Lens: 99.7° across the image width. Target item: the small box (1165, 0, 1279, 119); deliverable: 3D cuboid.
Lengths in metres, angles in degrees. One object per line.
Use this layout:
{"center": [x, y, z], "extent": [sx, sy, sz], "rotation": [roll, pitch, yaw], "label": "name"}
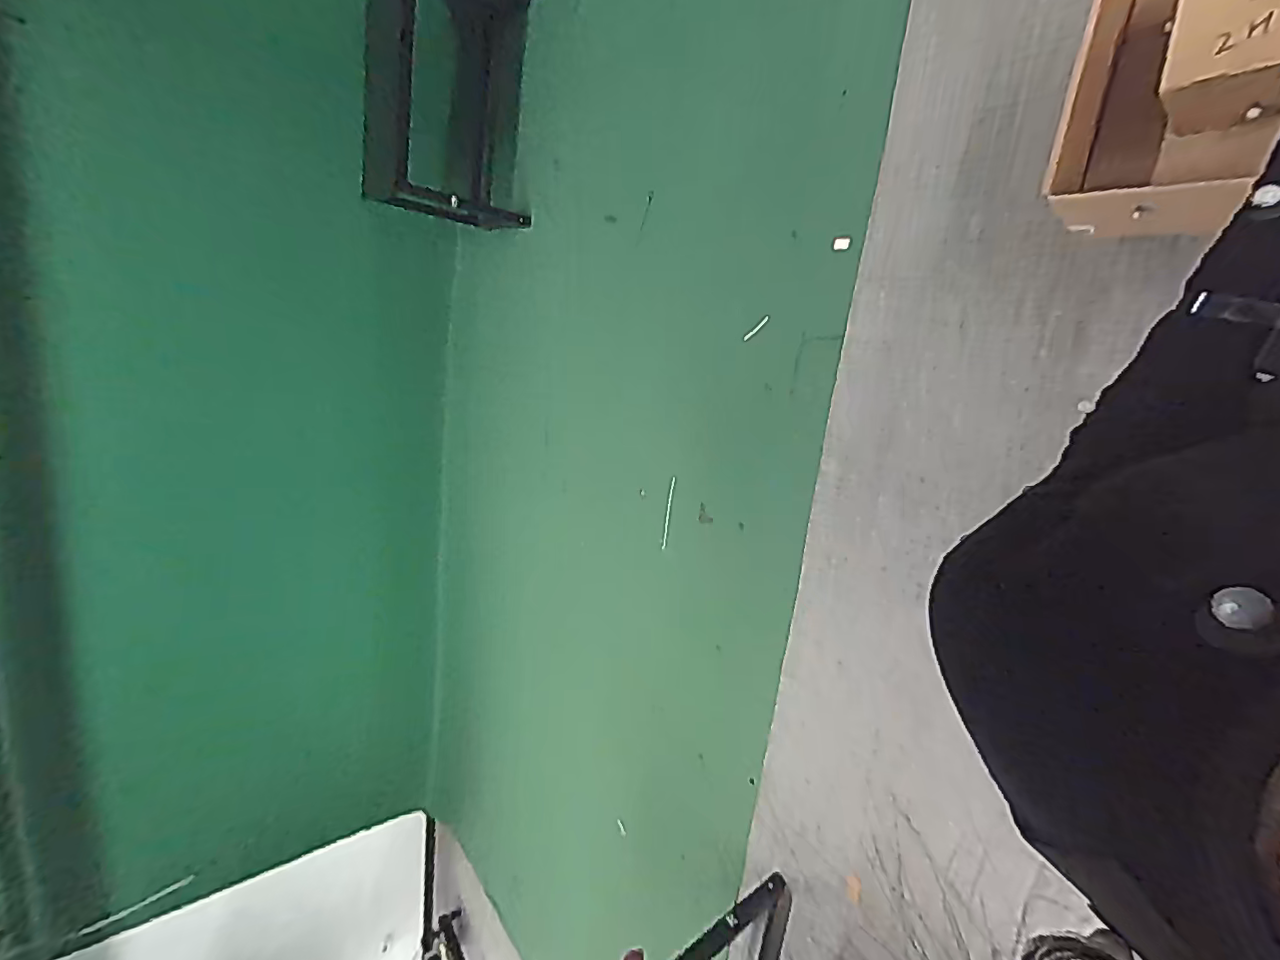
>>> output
{"center": [0.774, -0.580, 0.650], "extent": [0.168, 0.176, 0.179], "rotation": [17, 107, 48], "label": "small box"}
